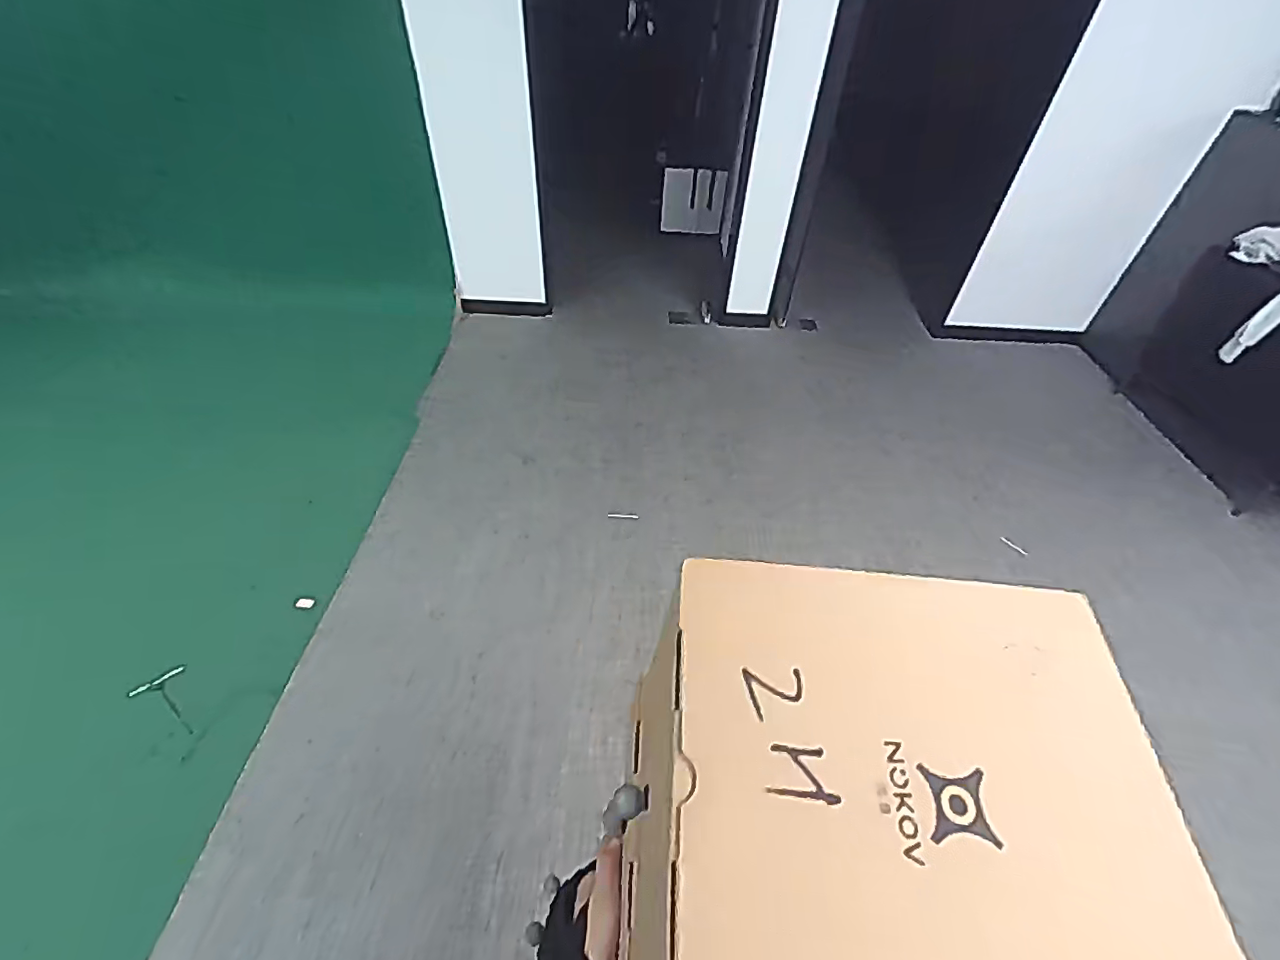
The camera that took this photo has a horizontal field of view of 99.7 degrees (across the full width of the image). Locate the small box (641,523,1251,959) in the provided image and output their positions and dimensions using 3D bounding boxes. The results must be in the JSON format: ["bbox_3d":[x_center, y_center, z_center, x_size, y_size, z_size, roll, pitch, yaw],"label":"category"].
[{"bbox_3d":[0.097,0.139,0.257,0.179,0.176,0.168,5,54,0],"label":"small box"}]

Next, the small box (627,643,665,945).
[{"bbox_3d":[0.082,0.231,0.394,0.179,0.176,0.168,4,55,0],"label":"small box"}]
